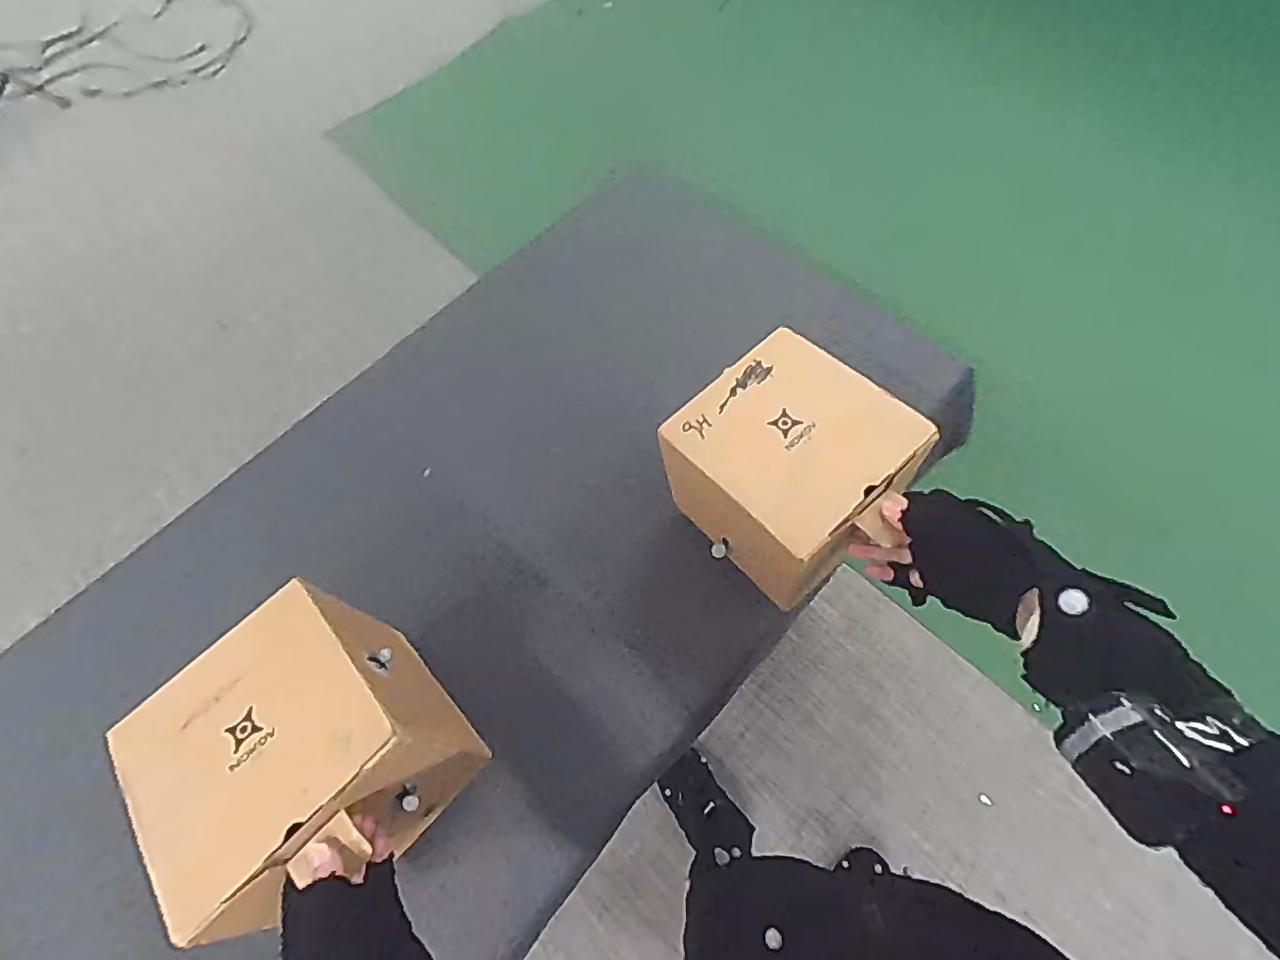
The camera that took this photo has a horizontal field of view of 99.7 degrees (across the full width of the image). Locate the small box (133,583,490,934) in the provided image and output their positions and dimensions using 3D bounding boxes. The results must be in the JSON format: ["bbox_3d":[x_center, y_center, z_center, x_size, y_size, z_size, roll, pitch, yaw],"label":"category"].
[{"bbox_3d":[-0.261,0.225,0.464,0.168,0.176,0.179,-43,60,-16],"label":"small box"}]

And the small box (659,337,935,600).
[{"bbox_3d":[0.144,0.001,0.542,0.168,0.176,0.179,-40,64,-10],"label":"small box"}]
